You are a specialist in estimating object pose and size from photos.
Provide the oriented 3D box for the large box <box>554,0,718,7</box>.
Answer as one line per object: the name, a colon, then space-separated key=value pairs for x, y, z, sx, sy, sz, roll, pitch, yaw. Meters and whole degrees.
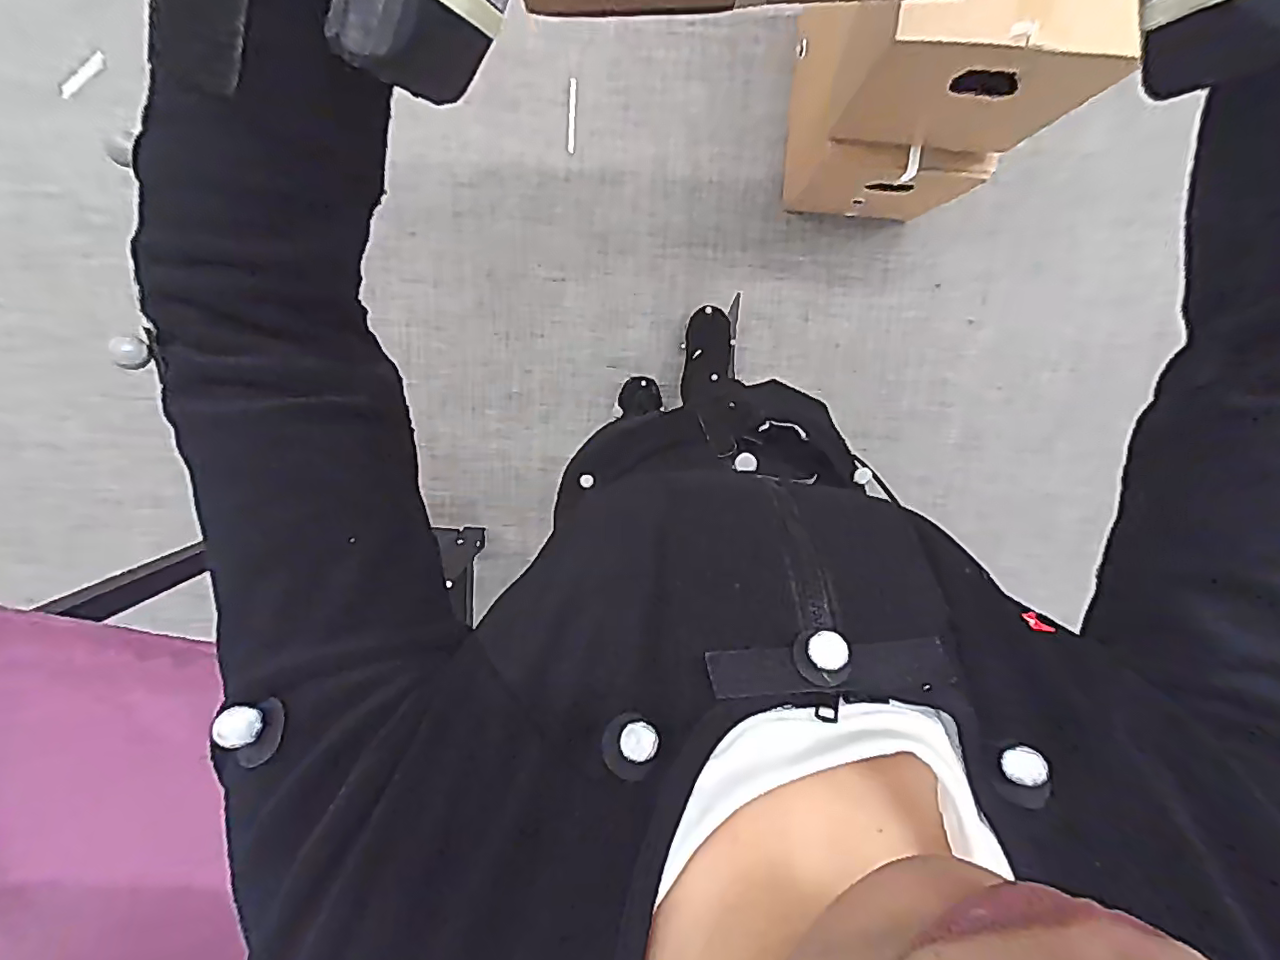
large box: x=0.076 y=-0.499 z=0.189 sx=0.320 sy=0.320 sz=0.408 roll=-4 pitch=101 yaw=0
